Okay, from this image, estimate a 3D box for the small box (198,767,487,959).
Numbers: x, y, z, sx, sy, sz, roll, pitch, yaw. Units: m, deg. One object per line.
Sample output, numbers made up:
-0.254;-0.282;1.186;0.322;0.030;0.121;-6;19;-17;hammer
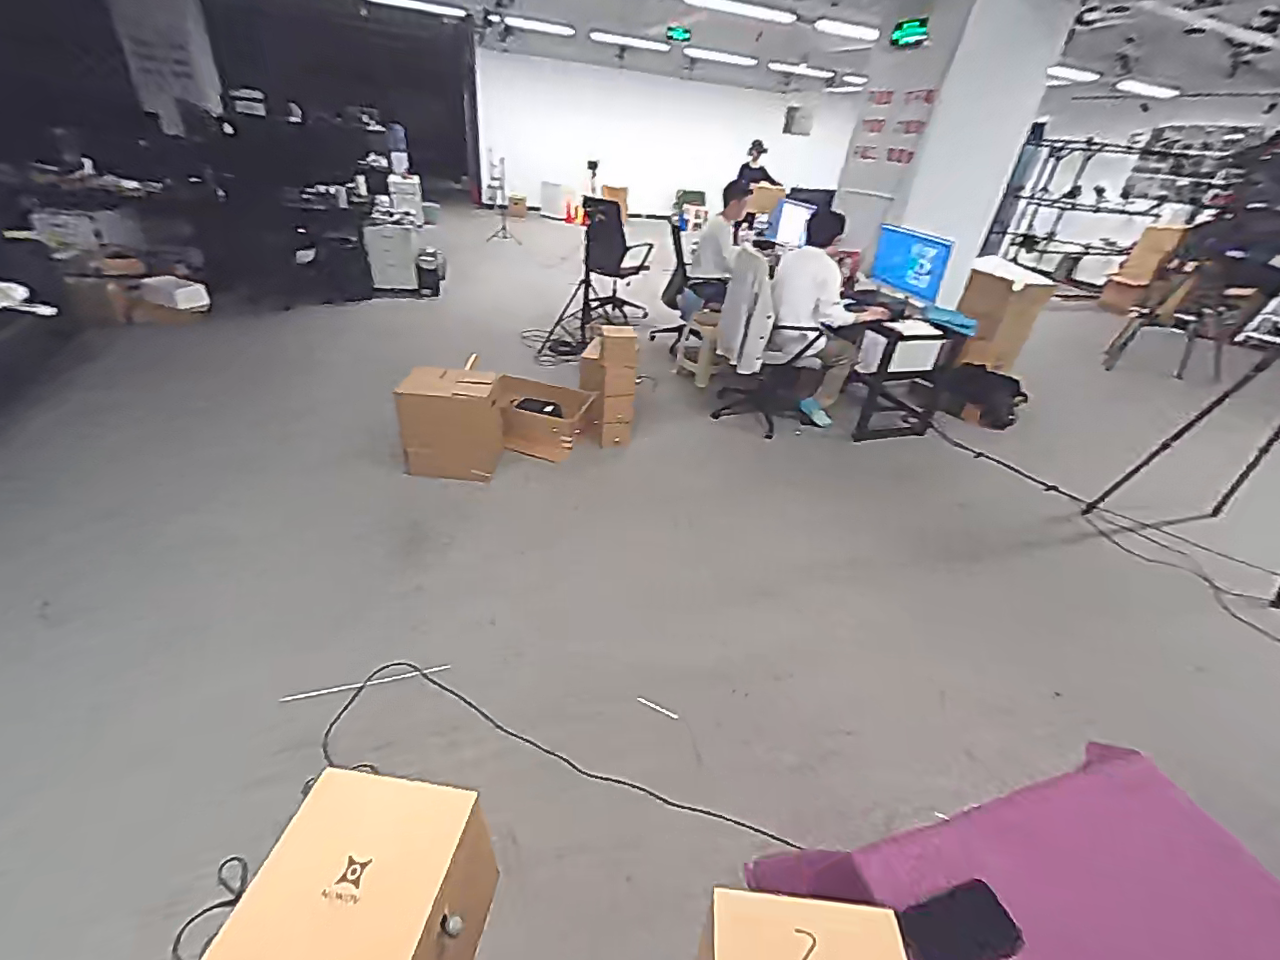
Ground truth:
-0.259;0.417;0.521;0.168;0.176;0.179;5;34;7;small box
